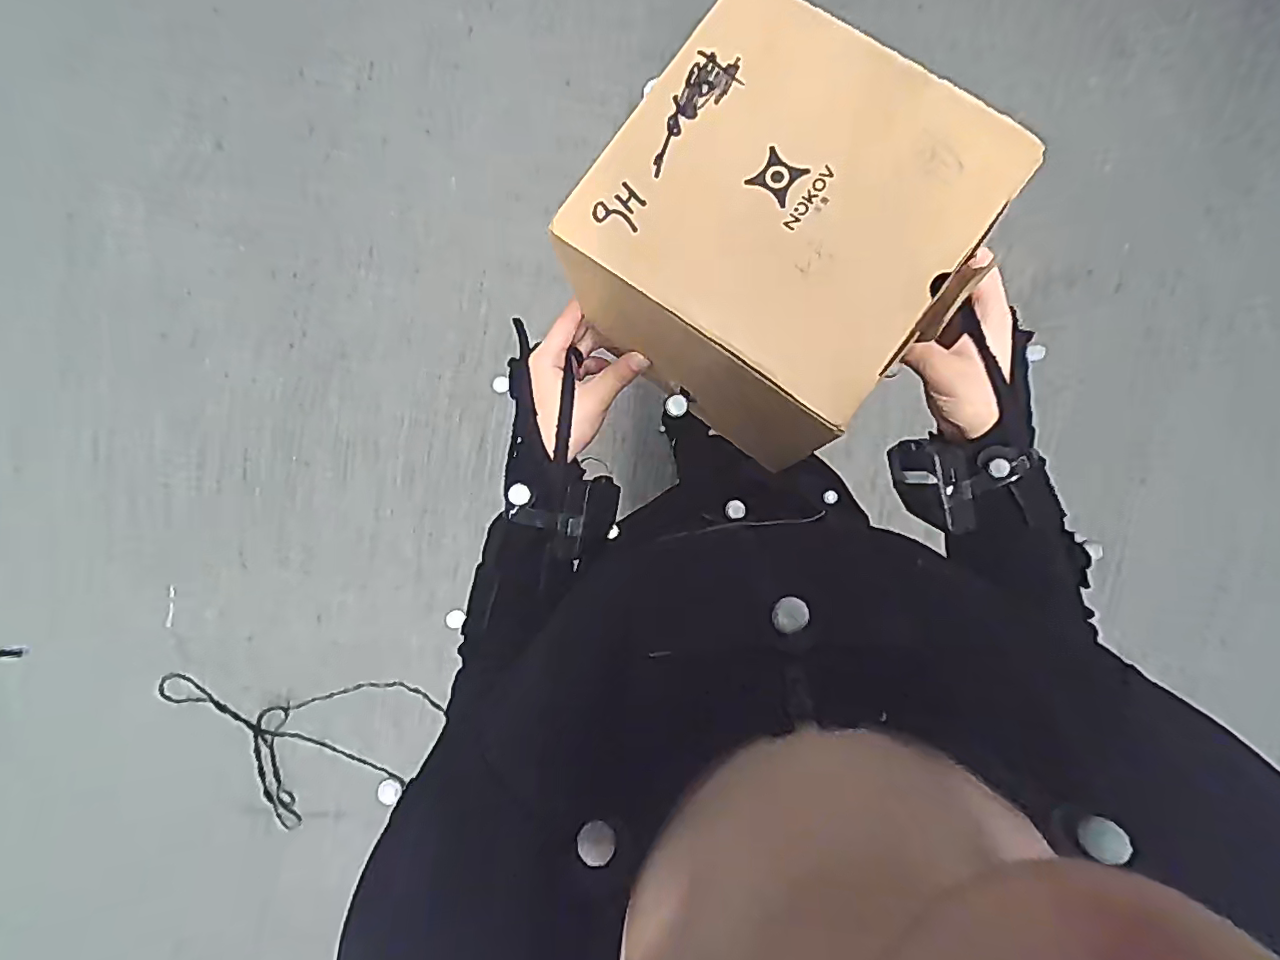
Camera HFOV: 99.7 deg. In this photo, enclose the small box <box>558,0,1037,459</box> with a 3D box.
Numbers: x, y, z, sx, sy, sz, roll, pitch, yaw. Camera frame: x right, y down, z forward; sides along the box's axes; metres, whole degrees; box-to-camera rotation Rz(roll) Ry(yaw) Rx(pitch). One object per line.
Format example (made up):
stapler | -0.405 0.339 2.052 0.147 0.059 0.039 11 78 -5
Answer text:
small box | 0.079 -0.127 0.343 0.179 0.176 0.168 38 88 6
